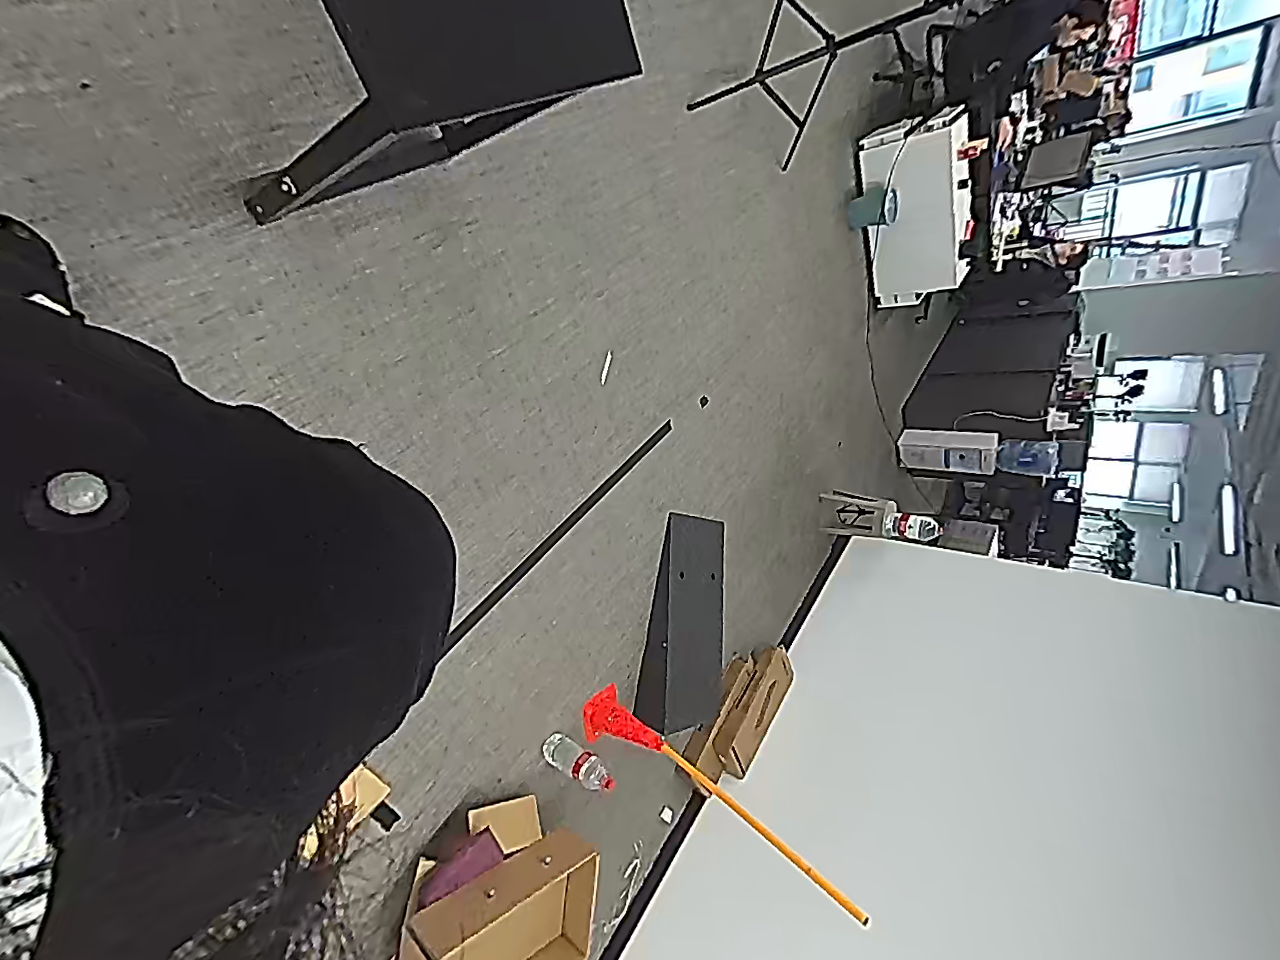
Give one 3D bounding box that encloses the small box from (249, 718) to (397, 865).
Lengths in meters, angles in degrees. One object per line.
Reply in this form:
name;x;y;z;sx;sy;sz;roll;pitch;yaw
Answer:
small box;-0.636;0.615;1.088;0.168;0.176;0.179;-47;127;-32
